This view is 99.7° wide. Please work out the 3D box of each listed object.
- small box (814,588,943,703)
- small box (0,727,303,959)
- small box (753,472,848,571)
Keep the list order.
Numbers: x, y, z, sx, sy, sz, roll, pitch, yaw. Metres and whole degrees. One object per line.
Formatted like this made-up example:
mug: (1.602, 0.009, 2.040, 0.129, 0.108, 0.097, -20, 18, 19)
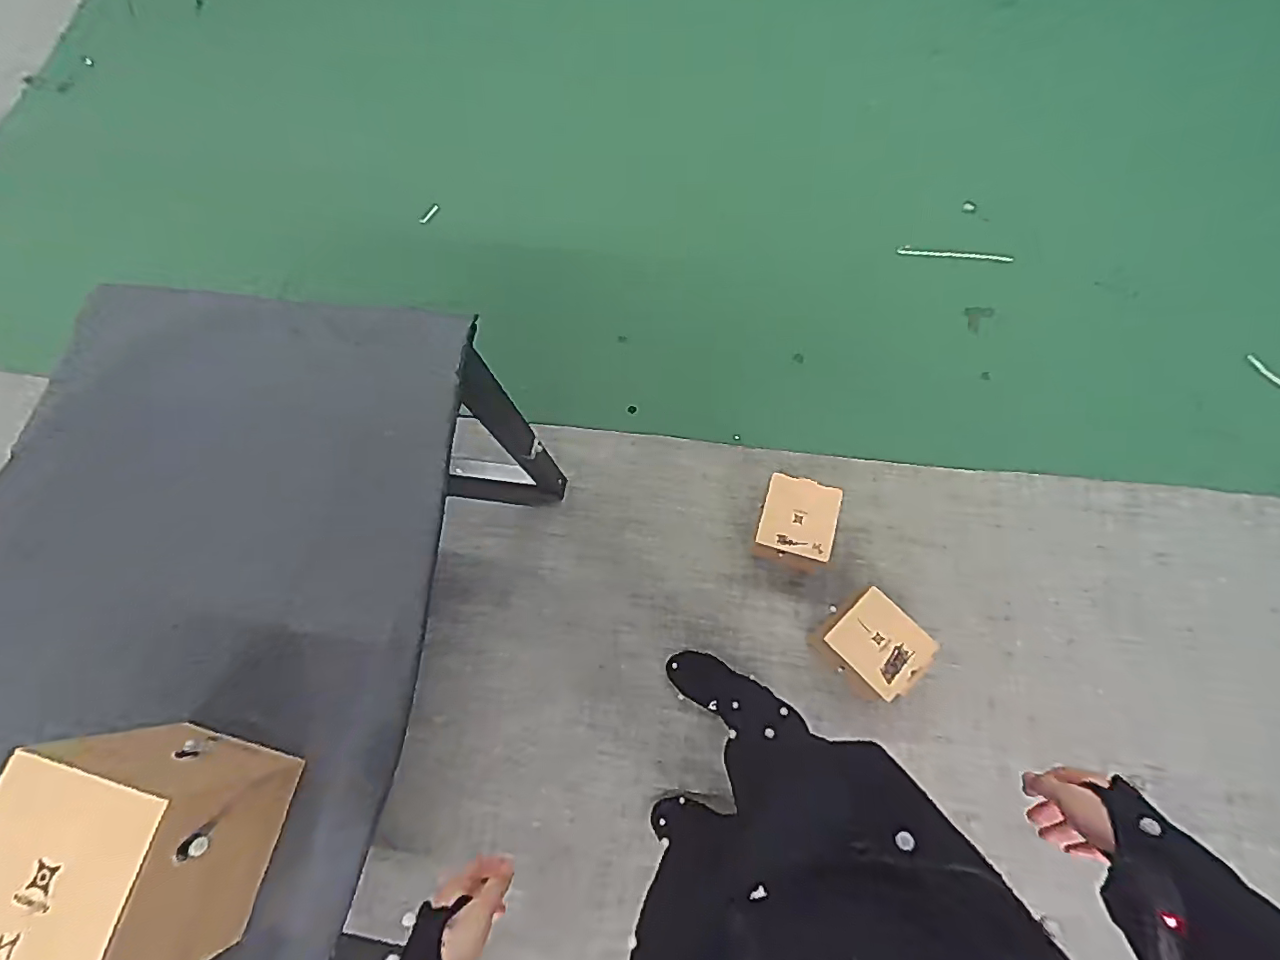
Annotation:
small box: (0.519, 0.363, 1.203, 0.168, 0.176, 0.179, -43, 74, -8)
small box: (-0.471, 0.355, 0.521, 0.168, 0.176, 0.179, 11, 75, 10)
small box: (0.376, 0.104, 1.292, 0.168, 0.176, 0.179, 16, 75, 9)
